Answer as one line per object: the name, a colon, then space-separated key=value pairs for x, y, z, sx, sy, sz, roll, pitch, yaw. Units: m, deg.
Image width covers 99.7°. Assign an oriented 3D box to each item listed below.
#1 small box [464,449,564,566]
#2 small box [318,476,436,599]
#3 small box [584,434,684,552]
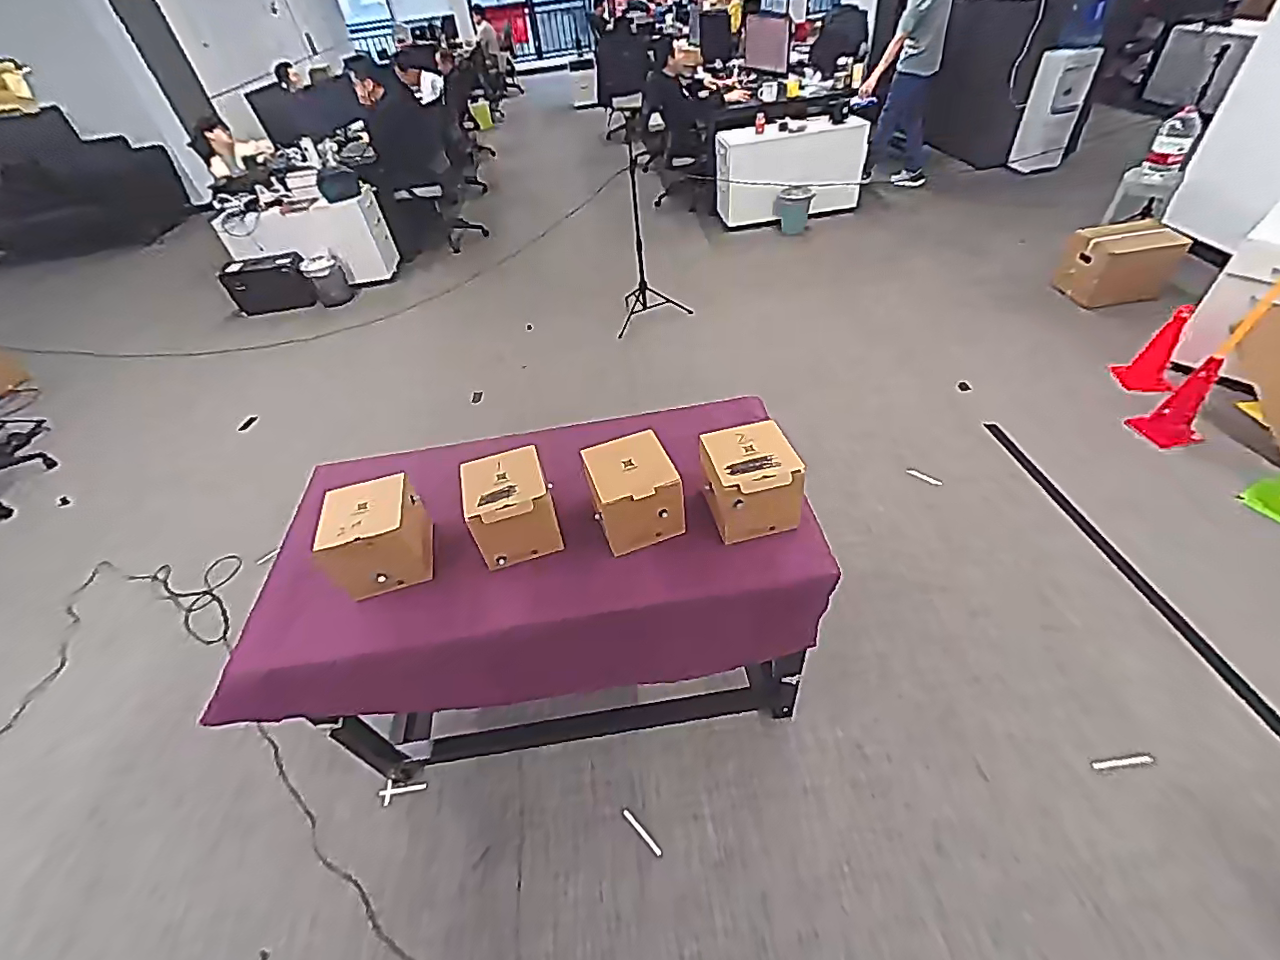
small box: x=-0.271 y=0.065 z=1.173 sx=0.168 sy=0.176 sz=0.179 roll=-16 pitch=43 yaw=-8
small box: x=-0.547 y=0.123 z=1.153 sx=0.168 sy=0.176 sz=0.179 roll=-15 pitch=44 yaw=-6
small box: x=-0.010 y=0.034 z=1.168 sx=0.168 sy=0.176 sz=0.179 roll=-17 pitch=44 yaw=-10
